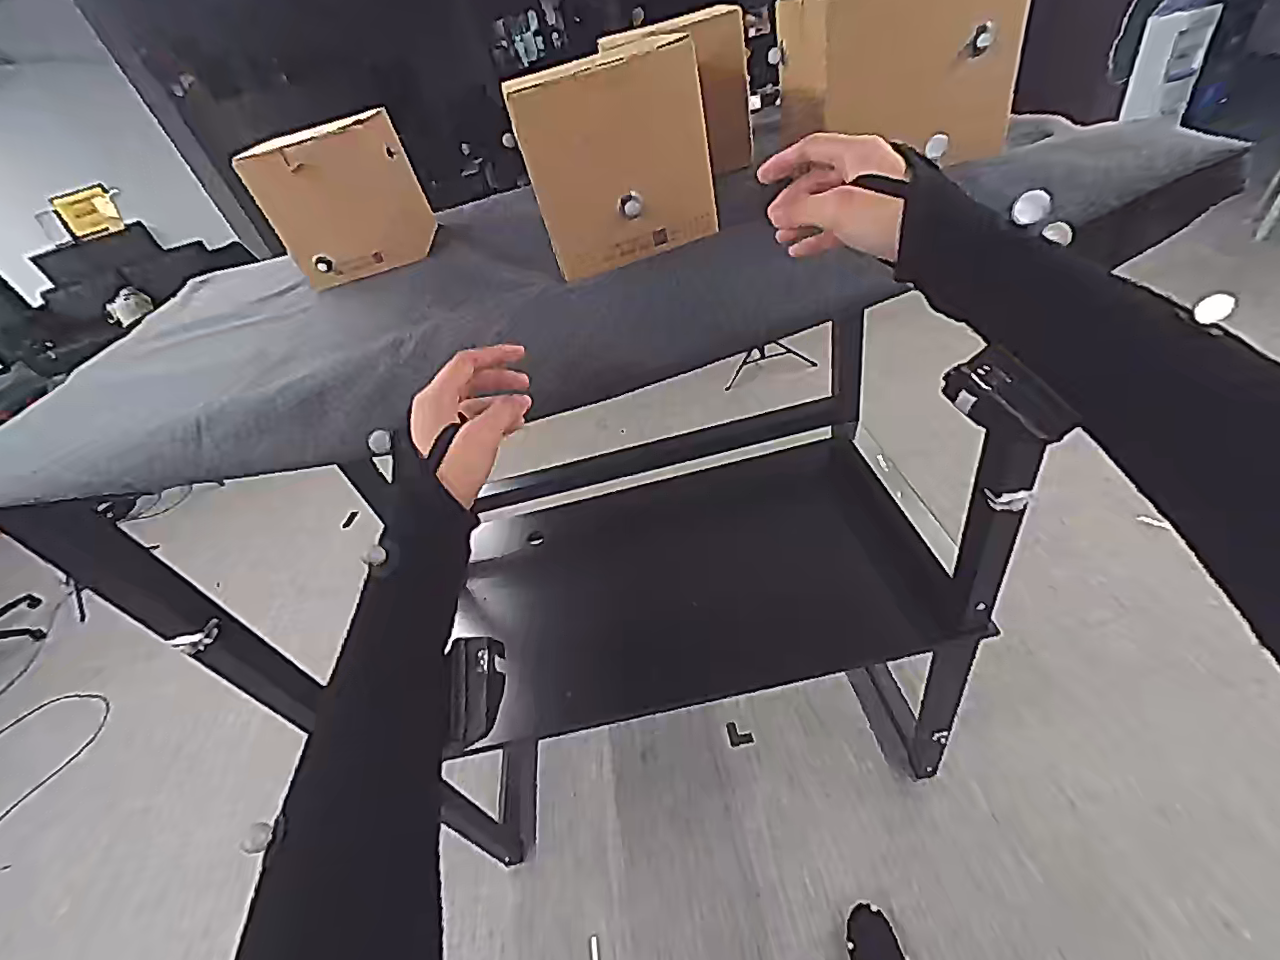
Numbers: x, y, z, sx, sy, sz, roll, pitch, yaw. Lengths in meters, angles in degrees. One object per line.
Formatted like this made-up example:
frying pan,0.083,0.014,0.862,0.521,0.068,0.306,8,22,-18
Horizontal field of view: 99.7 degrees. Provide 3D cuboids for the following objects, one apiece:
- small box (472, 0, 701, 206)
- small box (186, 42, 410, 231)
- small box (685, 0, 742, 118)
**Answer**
small box,-0.051,-0.384,0.520,0.168,0.176,0.179,-18,41,-1
small box,-0.429,-0.450,0.717,0.168,0.176,0.179,-16,41,0
small box,0.027,-0.570,0.699,0.168,0.176,0.179,-14,41,4
